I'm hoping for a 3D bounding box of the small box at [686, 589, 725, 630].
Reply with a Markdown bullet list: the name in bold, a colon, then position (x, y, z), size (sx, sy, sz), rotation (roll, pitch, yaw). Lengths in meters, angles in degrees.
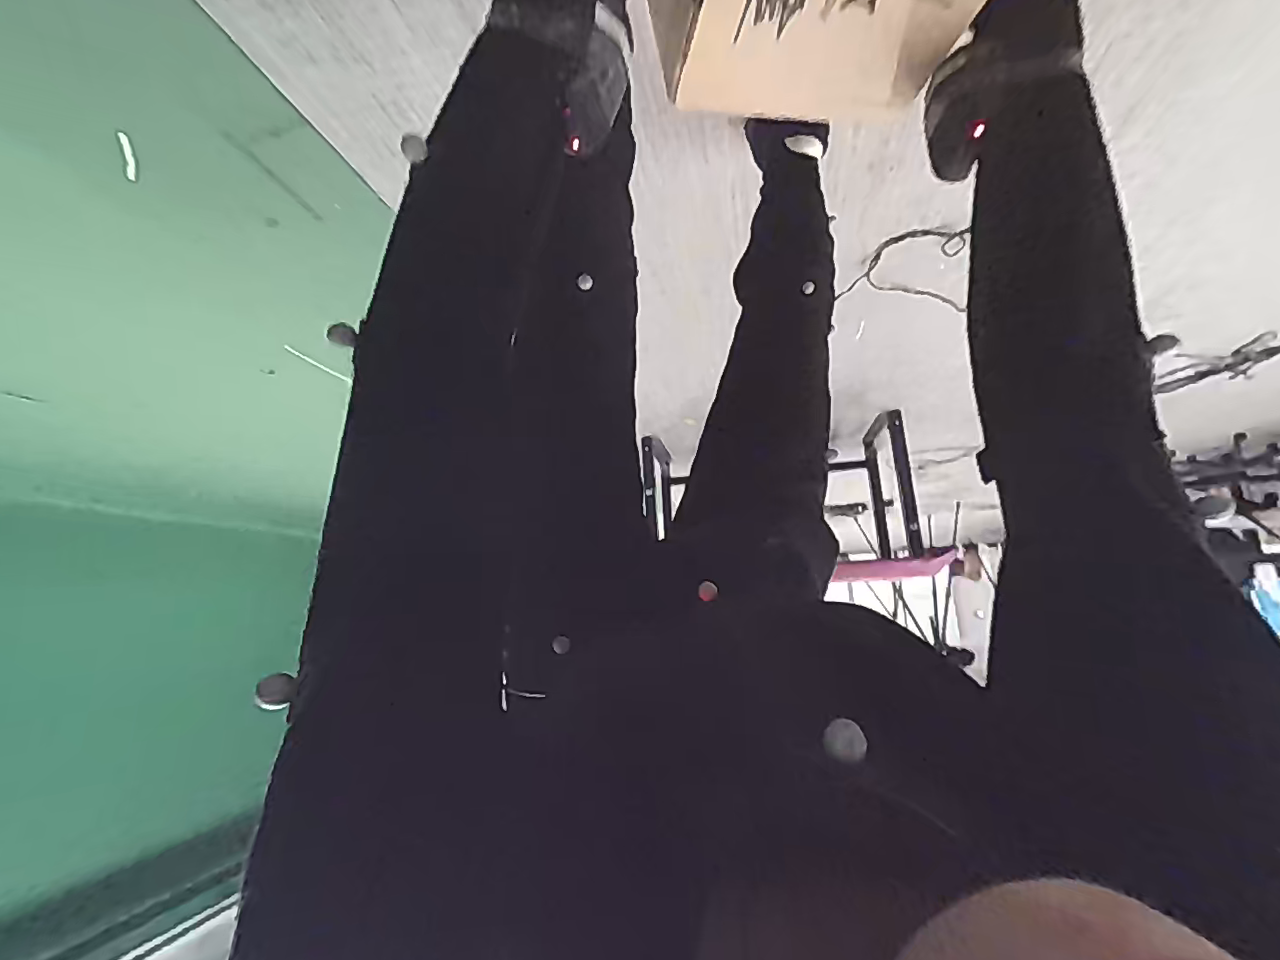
- **small box**: position (0.302, 0.592, 2.481), size (0.168, 0.176, 0.179), rotation (-5, 168, 9)
